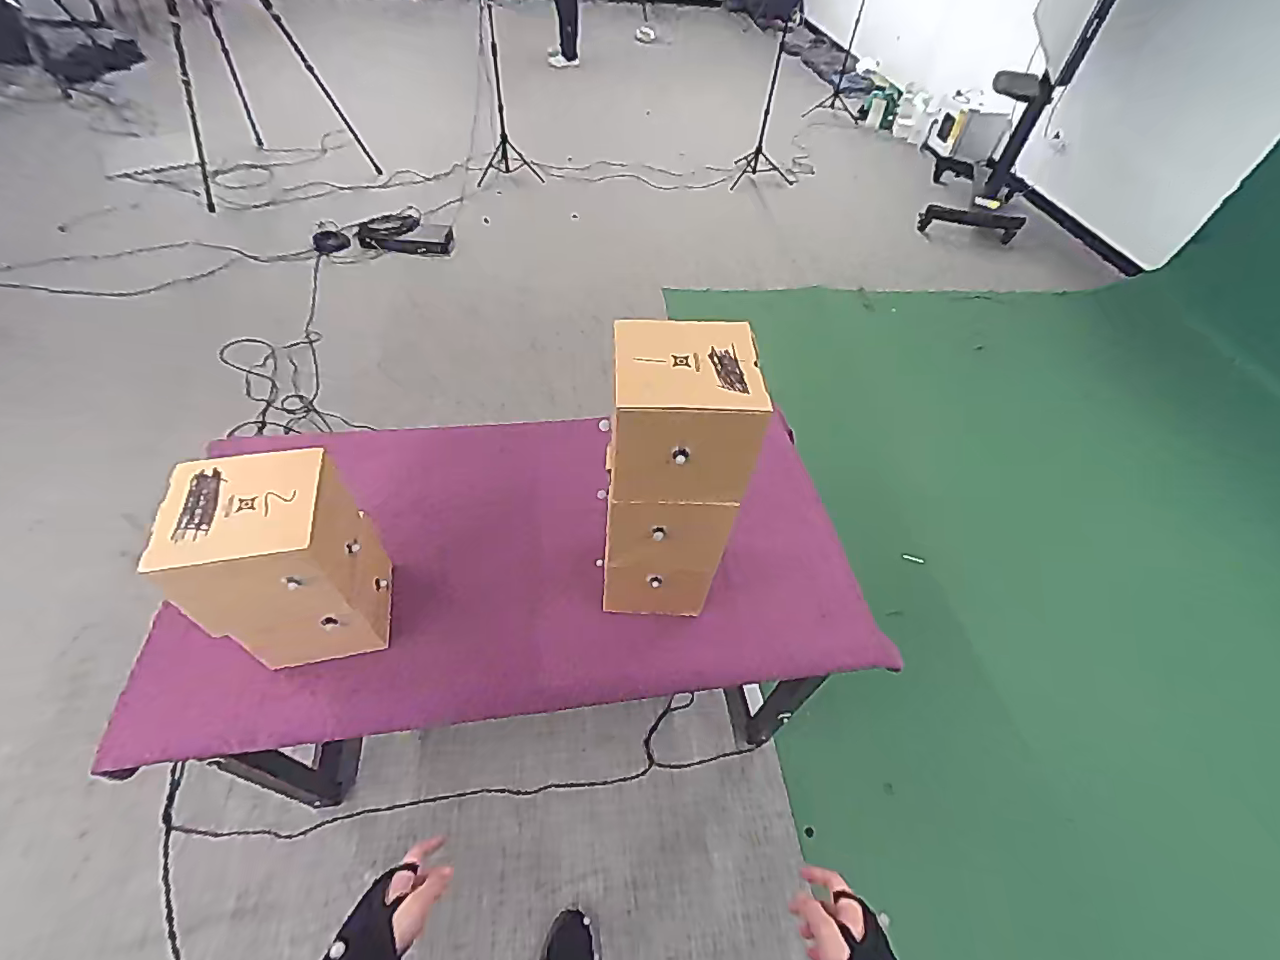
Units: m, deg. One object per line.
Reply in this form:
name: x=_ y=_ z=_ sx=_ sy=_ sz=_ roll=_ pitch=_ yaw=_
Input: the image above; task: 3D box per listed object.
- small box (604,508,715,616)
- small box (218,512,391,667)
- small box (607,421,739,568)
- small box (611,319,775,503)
small box: x=0.029 y=0.125 z=0.943 sx=0.179 sy=0.176 sz=0.168 roll=4 pitch=51 yaw=-2
small box: x=-0.506 y=0.174 z=0.850 sx=0.179 sy=0.176 sz=0.168 roll=-8 pitch=52 yaw=-12
small box: x=0.041 y=0.023 z=0.817 sx=0.179 sy=0.176 sz=0.168 roll=1 pitch=51 yaw=-3
small box: x=0.054 y=-0.083 z=0.691 sx=0.179 sy=0.176 sz=0.168 roll=0 pitch=51 yaw=-4
